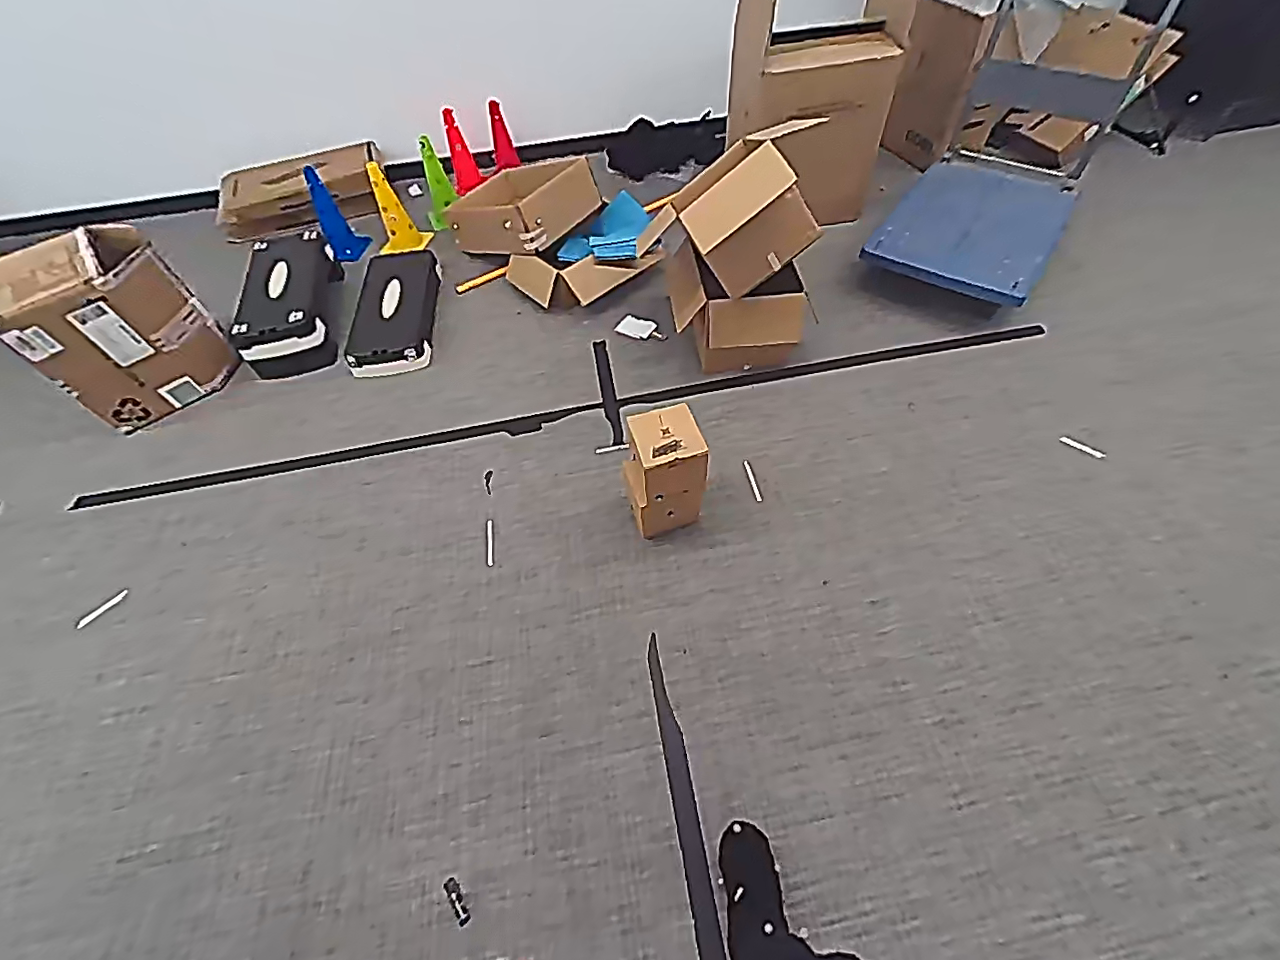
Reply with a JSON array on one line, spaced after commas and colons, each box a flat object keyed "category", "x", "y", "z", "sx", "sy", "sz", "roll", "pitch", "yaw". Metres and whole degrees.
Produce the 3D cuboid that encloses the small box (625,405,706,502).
[{"category": "small box", "x": 0.066, "y": -0.061, "z": 1.409, "sx": 0.168, "sy": 0.176, "sz": 0.179, "roll": -14, "pitch": 54, "yaw": -7}]
